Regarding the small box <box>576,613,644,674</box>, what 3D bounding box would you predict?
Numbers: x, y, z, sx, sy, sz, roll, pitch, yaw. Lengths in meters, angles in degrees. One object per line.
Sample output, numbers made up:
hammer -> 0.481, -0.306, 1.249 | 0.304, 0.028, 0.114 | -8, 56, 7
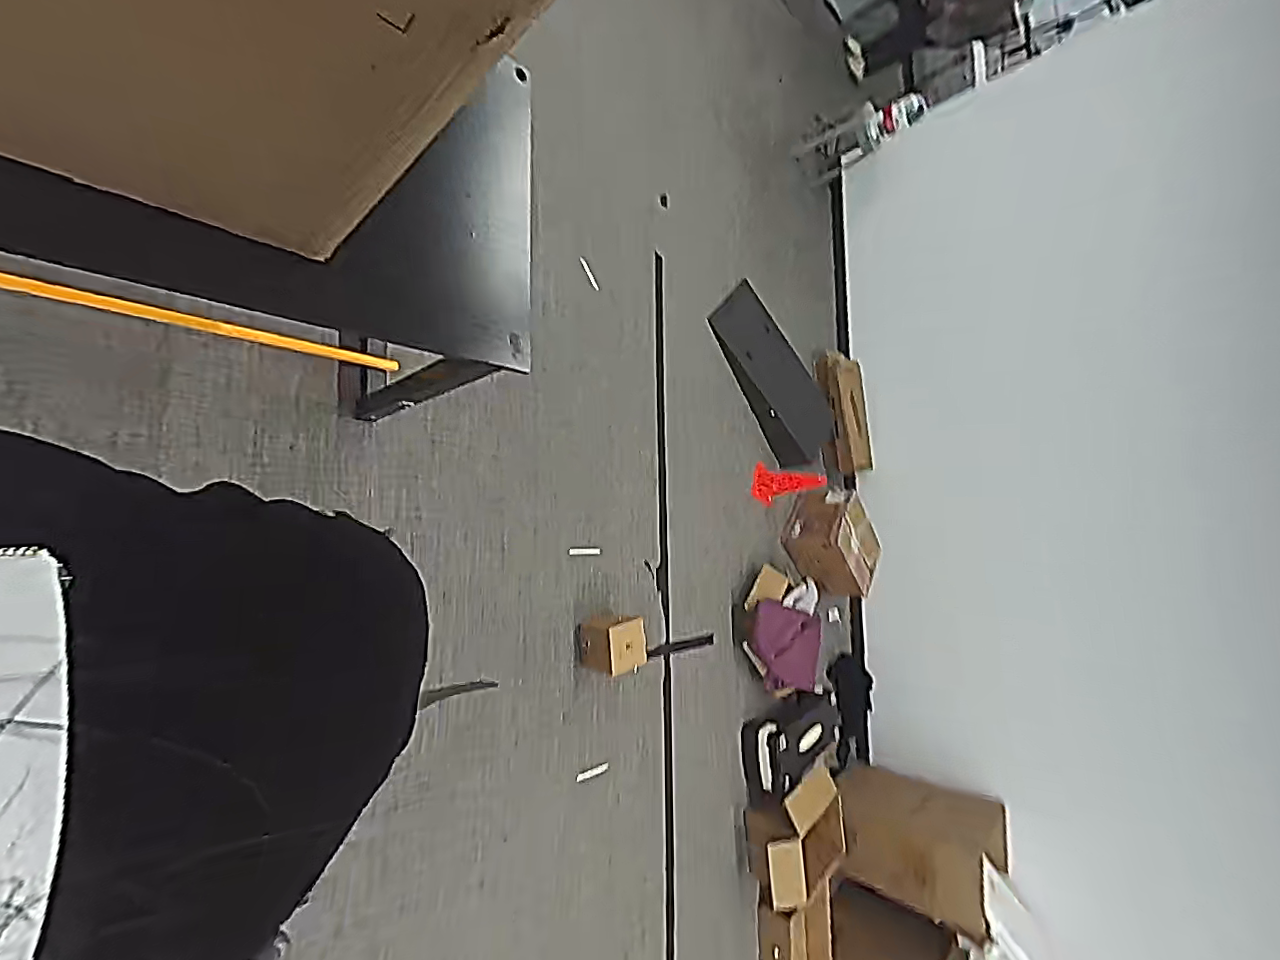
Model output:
small box -> -0.109, 0.588, 1.968 | 0.179, 0.176, 0.168 | -4, 89, -46
